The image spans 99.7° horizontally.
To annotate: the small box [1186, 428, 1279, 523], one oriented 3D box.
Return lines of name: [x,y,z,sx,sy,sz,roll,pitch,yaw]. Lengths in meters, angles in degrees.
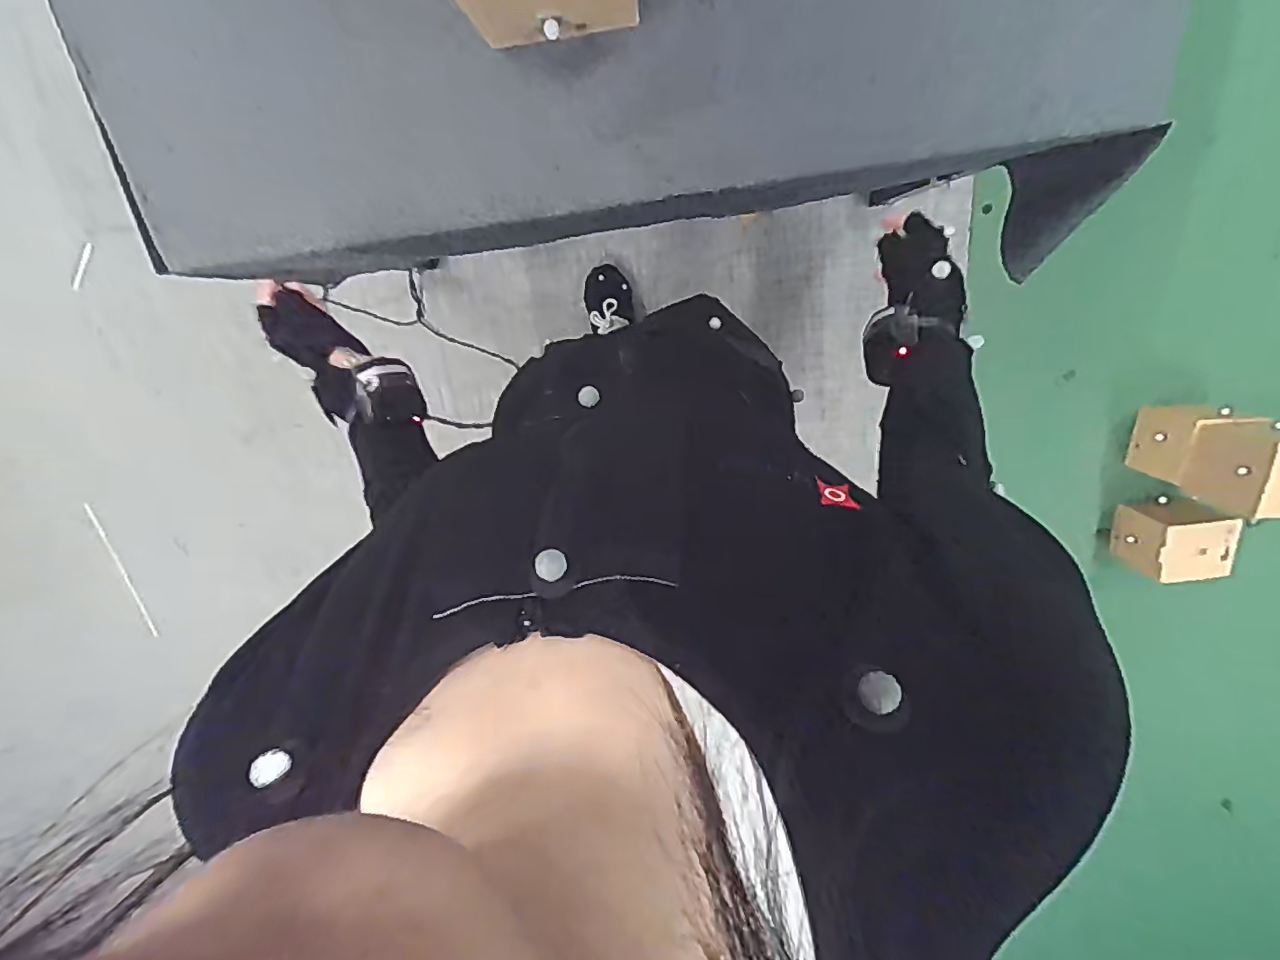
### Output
small box: [1.388,-0.017,1.204,0.168,0.176,0.179,-2,109,3]

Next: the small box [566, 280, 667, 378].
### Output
small box: [-0.063,-0.374,1.326,0.179,0.176,0.168,31,122,10]

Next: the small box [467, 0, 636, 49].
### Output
small box: [-0.094,-0.532,0.482,0.168,0.176,0.179,-5,109,4]

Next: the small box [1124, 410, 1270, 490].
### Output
small box: [1.382,-0.078,1.358,0.179,0.176,0.168,-1,109,2]
